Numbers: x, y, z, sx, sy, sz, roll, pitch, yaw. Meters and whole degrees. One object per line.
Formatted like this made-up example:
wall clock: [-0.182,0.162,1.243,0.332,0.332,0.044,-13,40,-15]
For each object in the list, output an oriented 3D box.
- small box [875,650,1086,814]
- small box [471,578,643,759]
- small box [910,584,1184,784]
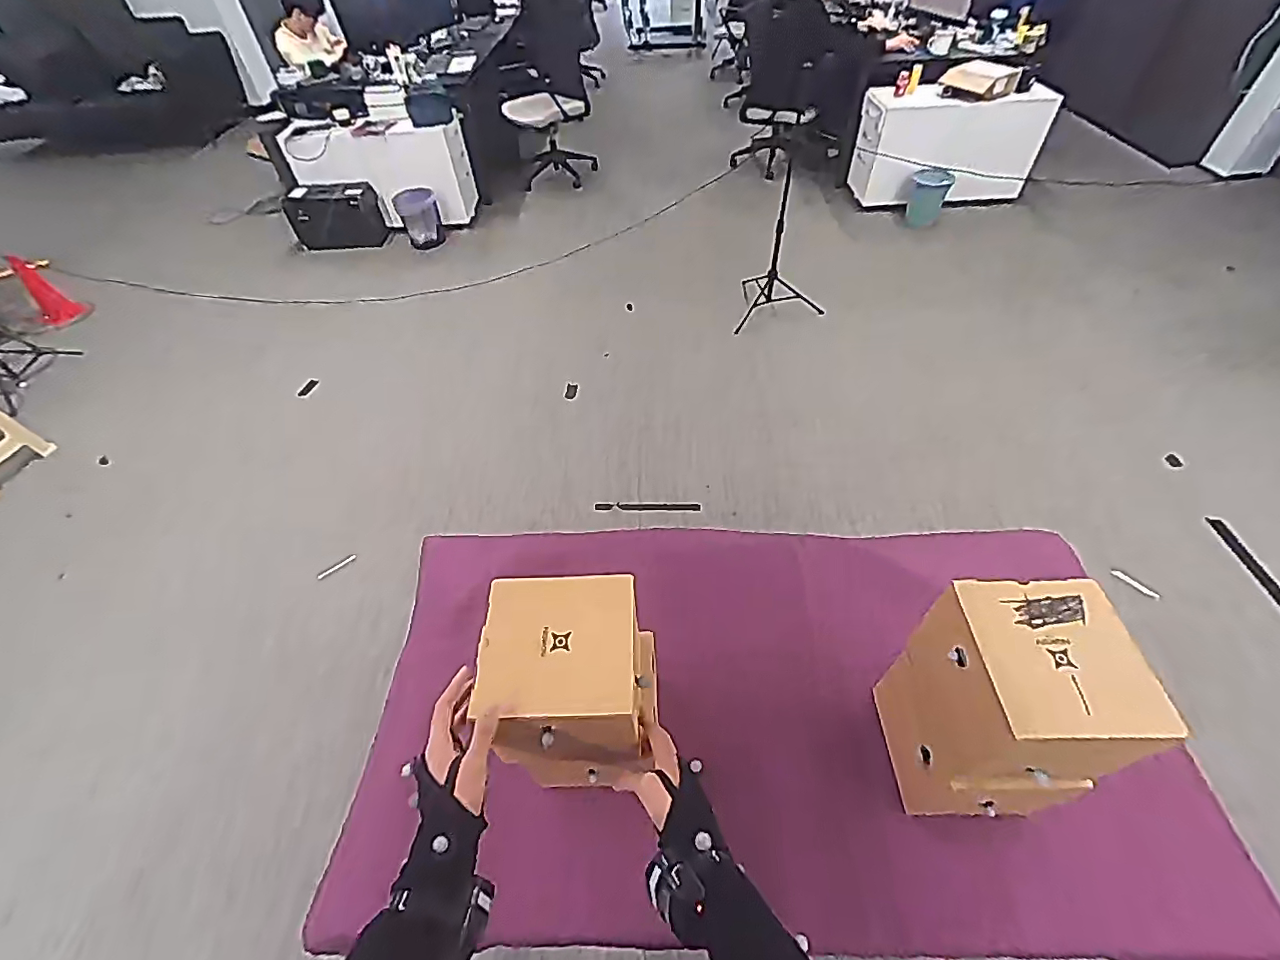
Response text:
small box: [0.451,0.354,0.753,0.168,0.176,0.179,-1,49,2]
small box: [-0.085,0.235,0.669,0.179,0.176,0.168,-3,49,3]
small box: [0.445,0.239,0.635,0.168,0.176,0.179,-1,50,3]
